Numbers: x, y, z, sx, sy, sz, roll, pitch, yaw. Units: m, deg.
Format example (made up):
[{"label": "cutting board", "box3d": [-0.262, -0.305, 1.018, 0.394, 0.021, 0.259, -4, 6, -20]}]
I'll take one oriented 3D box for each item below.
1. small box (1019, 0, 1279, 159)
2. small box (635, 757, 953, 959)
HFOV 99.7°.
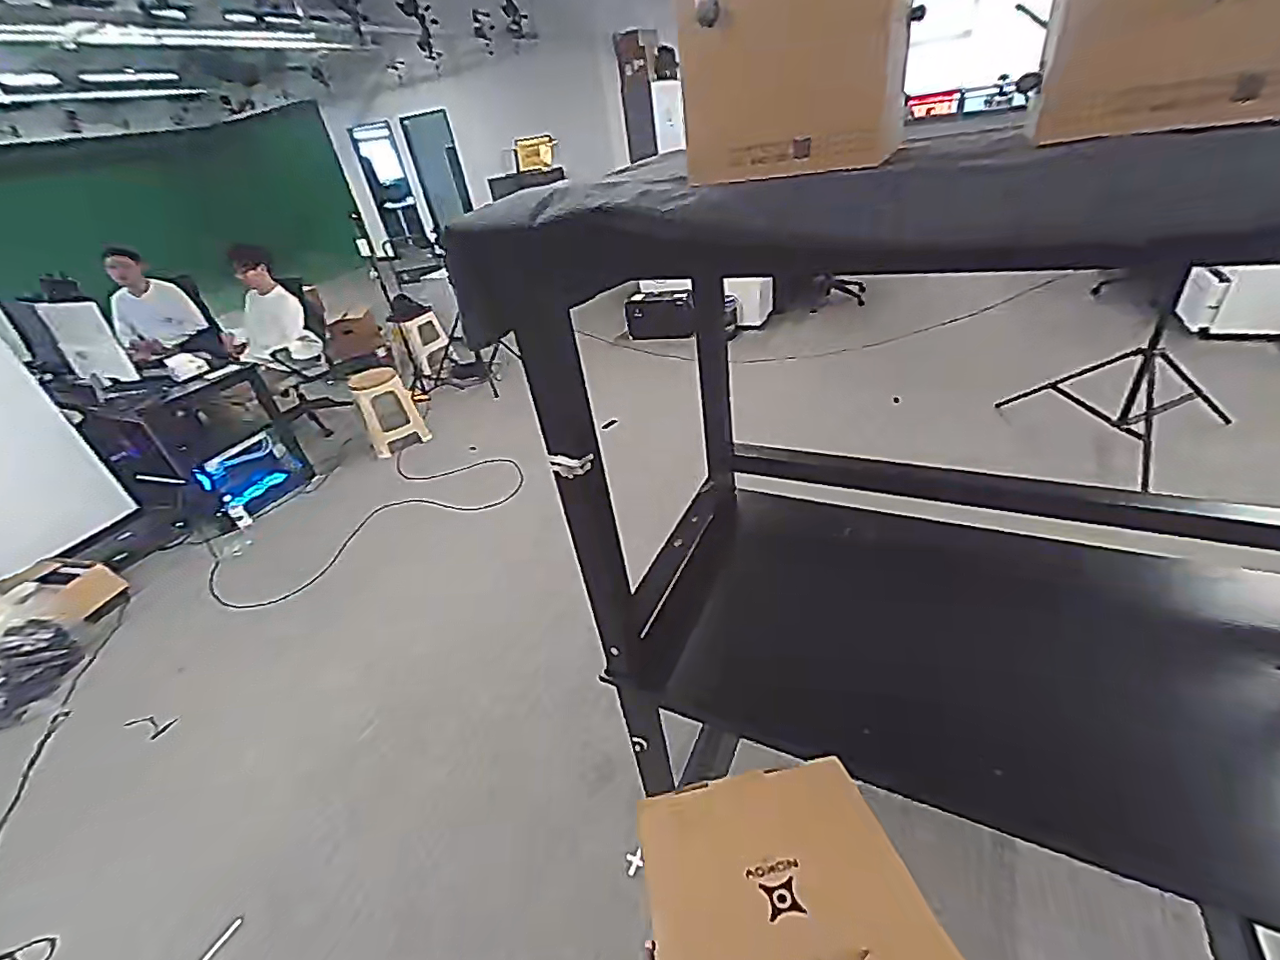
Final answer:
[{"label": "small box", "box3d": [0.381, -0.328, 0.372, 0.168, 0.176, 0.179, 10, 36, 26]}, {"label": "small box", "box3d": [0.097, 0.337, 0.372, 0.168, 0.176, 0.179, -11, 21, -6]}]
